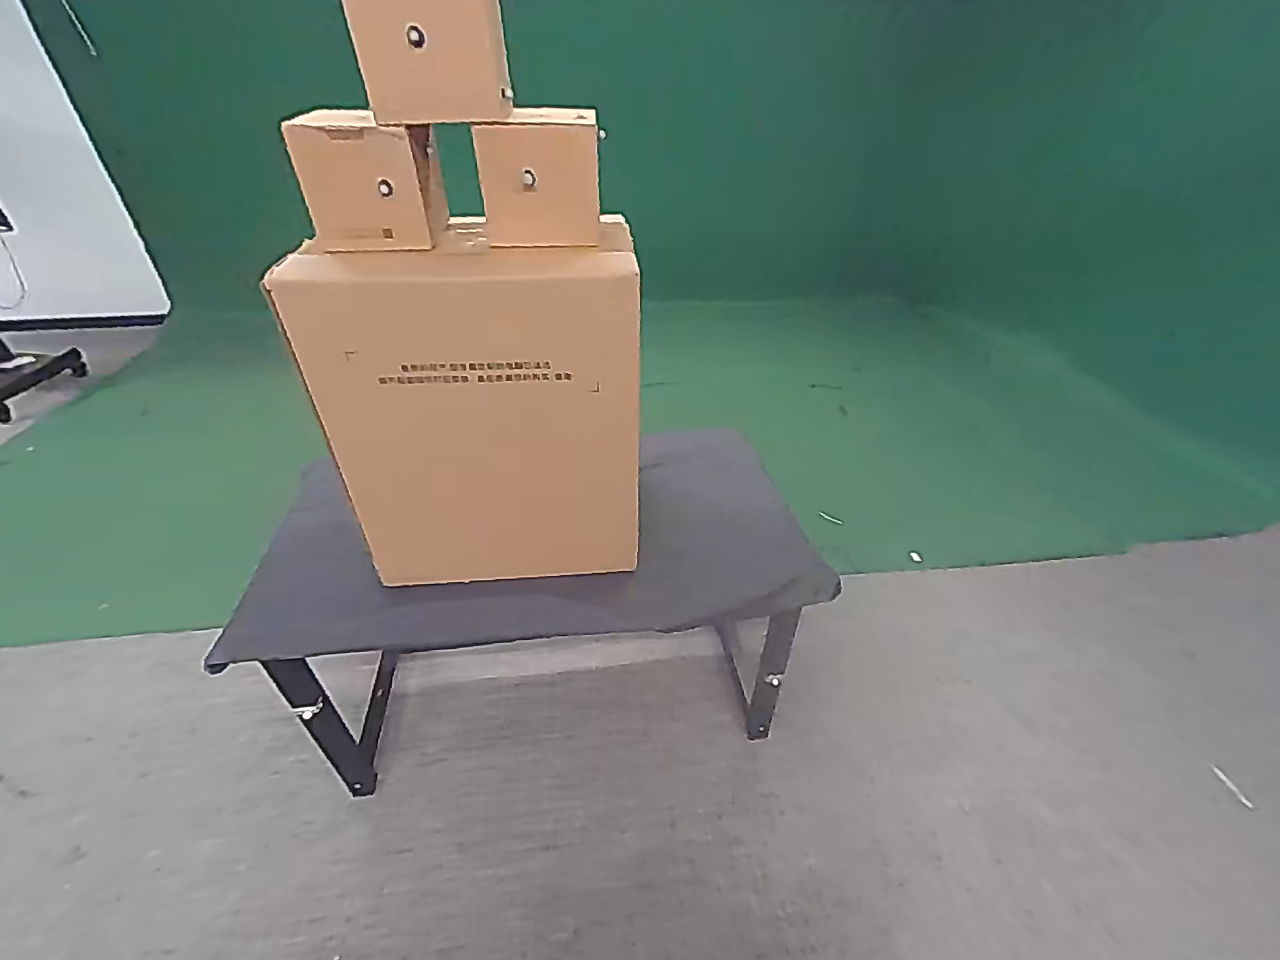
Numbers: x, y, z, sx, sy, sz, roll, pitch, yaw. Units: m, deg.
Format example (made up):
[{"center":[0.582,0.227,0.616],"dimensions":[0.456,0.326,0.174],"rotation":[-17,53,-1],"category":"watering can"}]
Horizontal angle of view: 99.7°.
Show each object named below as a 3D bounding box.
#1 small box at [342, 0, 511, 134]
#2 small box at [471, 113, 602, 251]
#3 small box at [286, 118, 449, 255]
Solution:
[{"center":[-0.283,-0.597,0.756],"dimensions":[0.179,0.176,0.168],"rotation":[-5,40,-4],"category":"small box"},{"center":[-0.154,-0.479,0.871],"dimensions":[0.179,0.176,0.168],"rotation":[-3,40,-3],"category":"small box"},{"center":[-0.409,-0.462,0.852],"dimensions":[0.168,0.176,0.179],"rotation":[-3,38,-6],"category":"small box"}]
